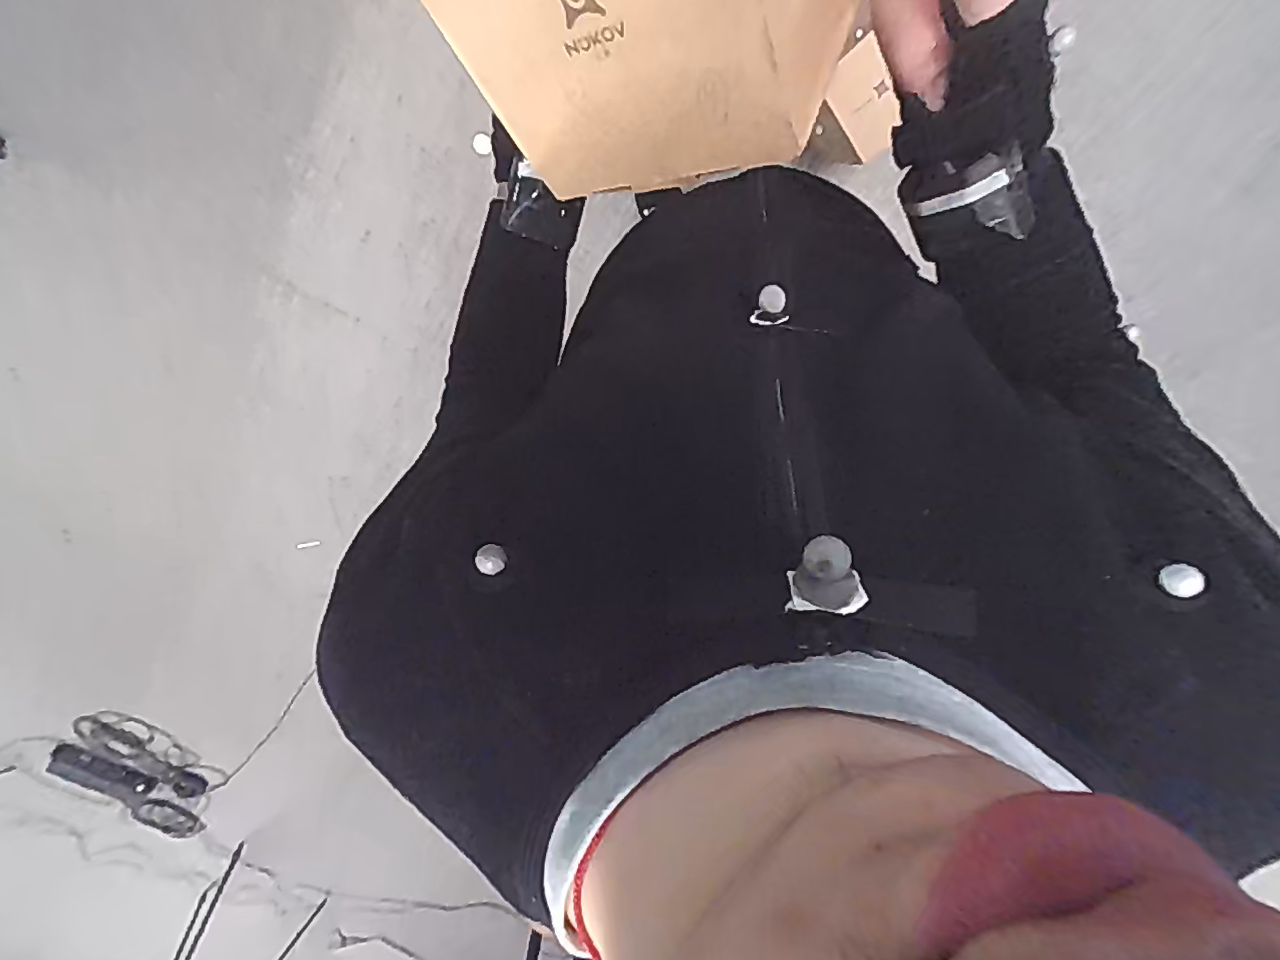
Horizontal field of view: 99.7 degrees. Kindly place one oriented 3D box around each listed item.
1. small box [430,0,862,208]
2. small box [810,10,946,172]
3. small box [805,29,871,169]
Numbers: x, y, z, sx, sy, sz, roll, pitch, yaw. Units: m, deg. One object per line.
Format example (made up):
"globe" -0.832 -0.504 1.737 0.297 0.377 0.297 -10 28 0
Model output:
"small box" 0.012 -0.279 0.277 0.168 0.176 0.179 10 159 33
"small box" 0.419 -0.710 1.007 0.179 0.176 0.168 -35 113 22
"small box" 0.426 -0.796 1.147 0.179 0.176 0.168 -36 112 23
